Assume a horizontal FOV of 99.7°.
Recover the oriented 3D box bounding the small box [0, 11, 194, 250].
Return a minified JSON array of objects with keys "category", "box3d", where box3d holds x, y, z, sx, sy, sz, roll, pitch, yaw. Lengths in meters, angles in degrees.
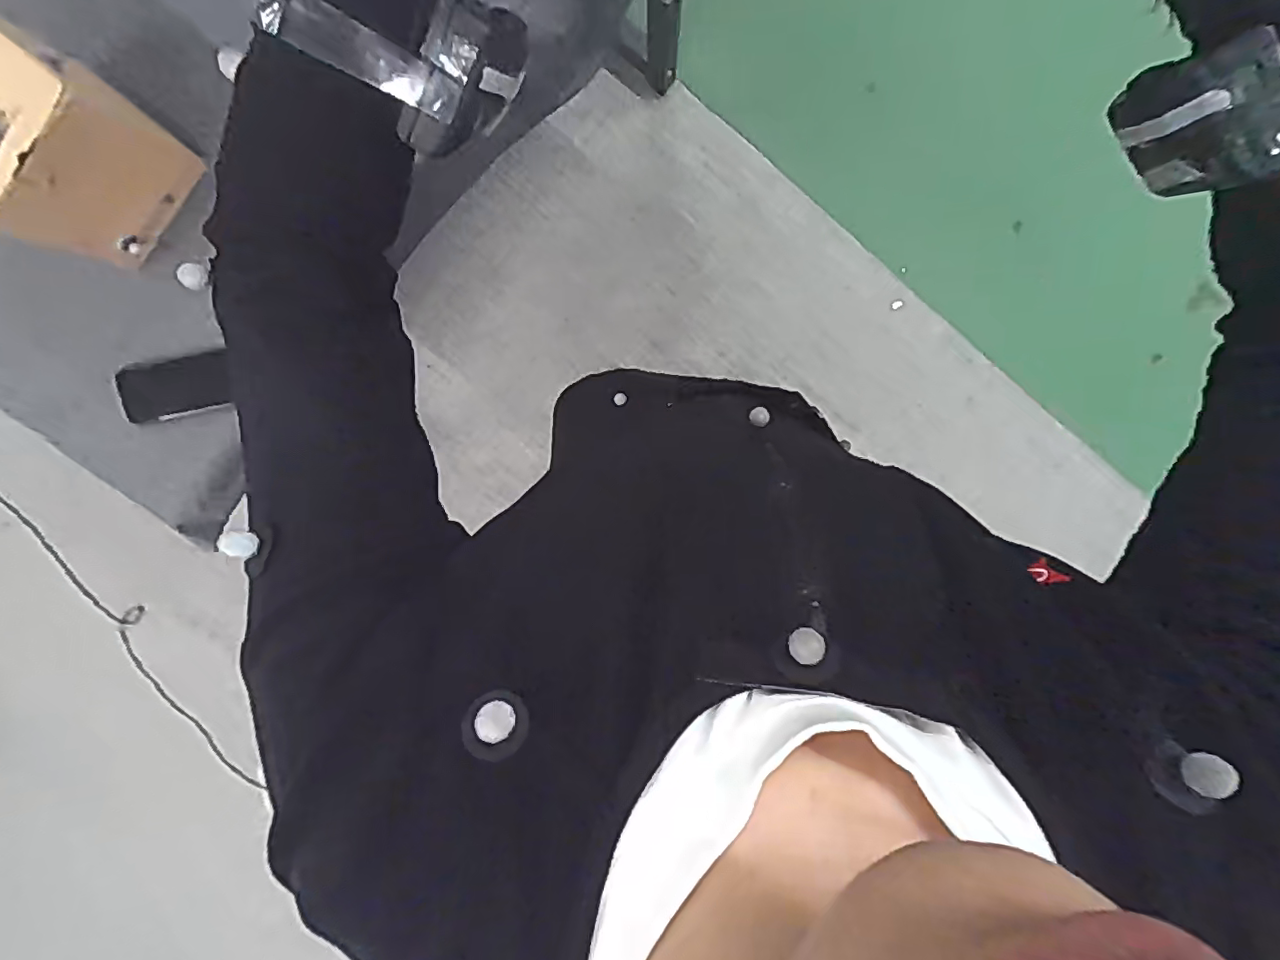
[{"category":"small box","box3d":[-0.658,-0.380,0.592,0.179,0.176,0.168,40,96,-3]}]
